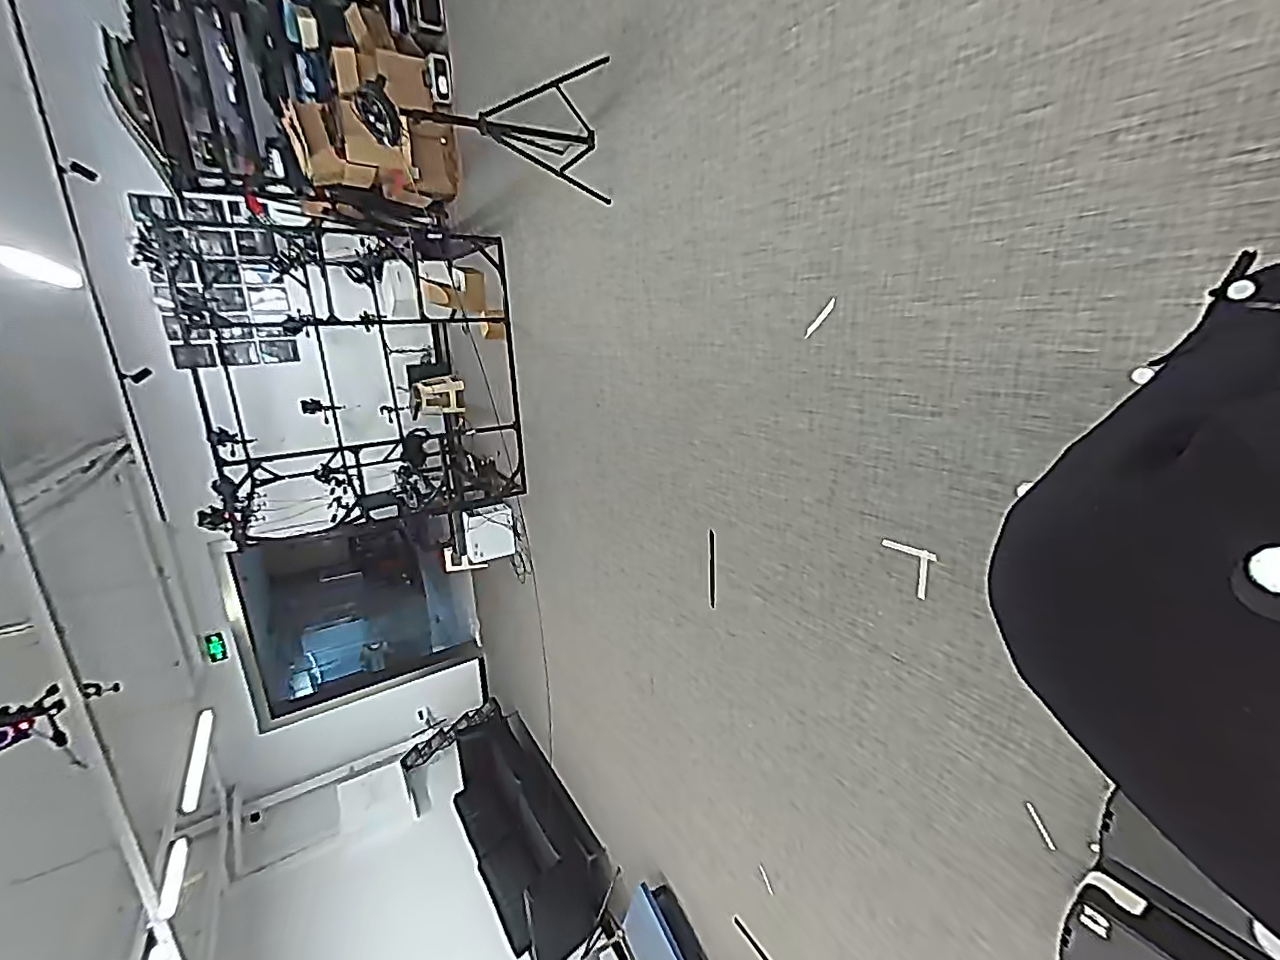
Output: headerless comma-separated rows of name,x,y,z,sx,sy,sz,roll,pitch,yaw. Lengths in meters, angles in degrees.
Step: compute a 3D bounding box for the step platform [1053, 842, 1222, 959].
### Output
step platform,1.252,1.112,1.079,0.684,0.204,0.286,23,119,57
